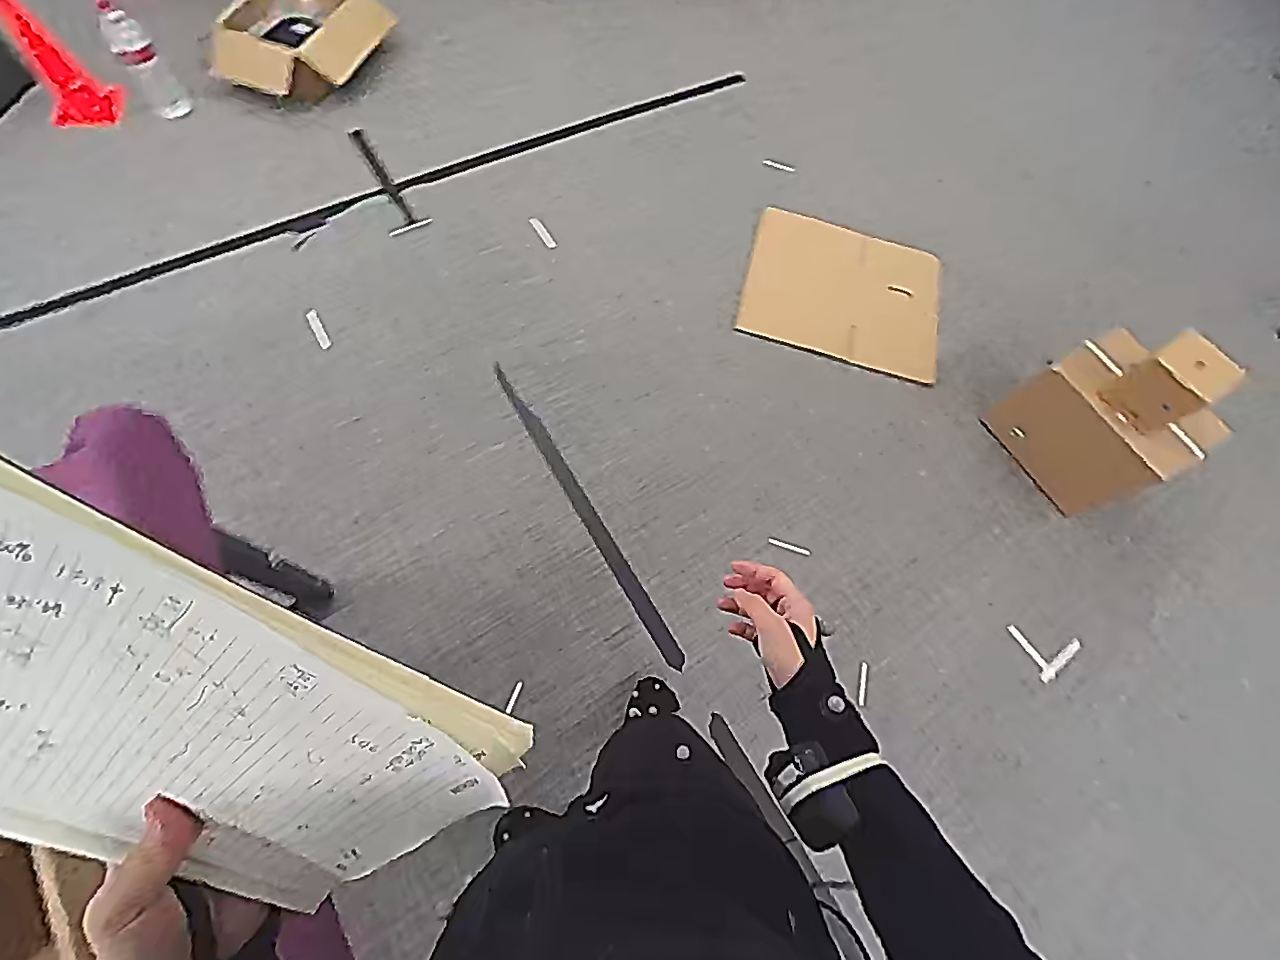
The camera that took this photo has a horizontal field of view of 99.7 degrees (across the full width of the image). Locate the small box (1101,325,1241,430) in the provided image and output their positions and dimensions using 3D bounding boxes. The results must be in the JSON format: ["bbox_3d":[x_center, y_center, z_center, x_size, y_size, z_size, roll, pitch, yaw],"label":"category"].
[{"bbox_3d":[1.358,-0.258,1.399,0.179,0.176,0.168,-33,75,-18],"label":"small box"}]
